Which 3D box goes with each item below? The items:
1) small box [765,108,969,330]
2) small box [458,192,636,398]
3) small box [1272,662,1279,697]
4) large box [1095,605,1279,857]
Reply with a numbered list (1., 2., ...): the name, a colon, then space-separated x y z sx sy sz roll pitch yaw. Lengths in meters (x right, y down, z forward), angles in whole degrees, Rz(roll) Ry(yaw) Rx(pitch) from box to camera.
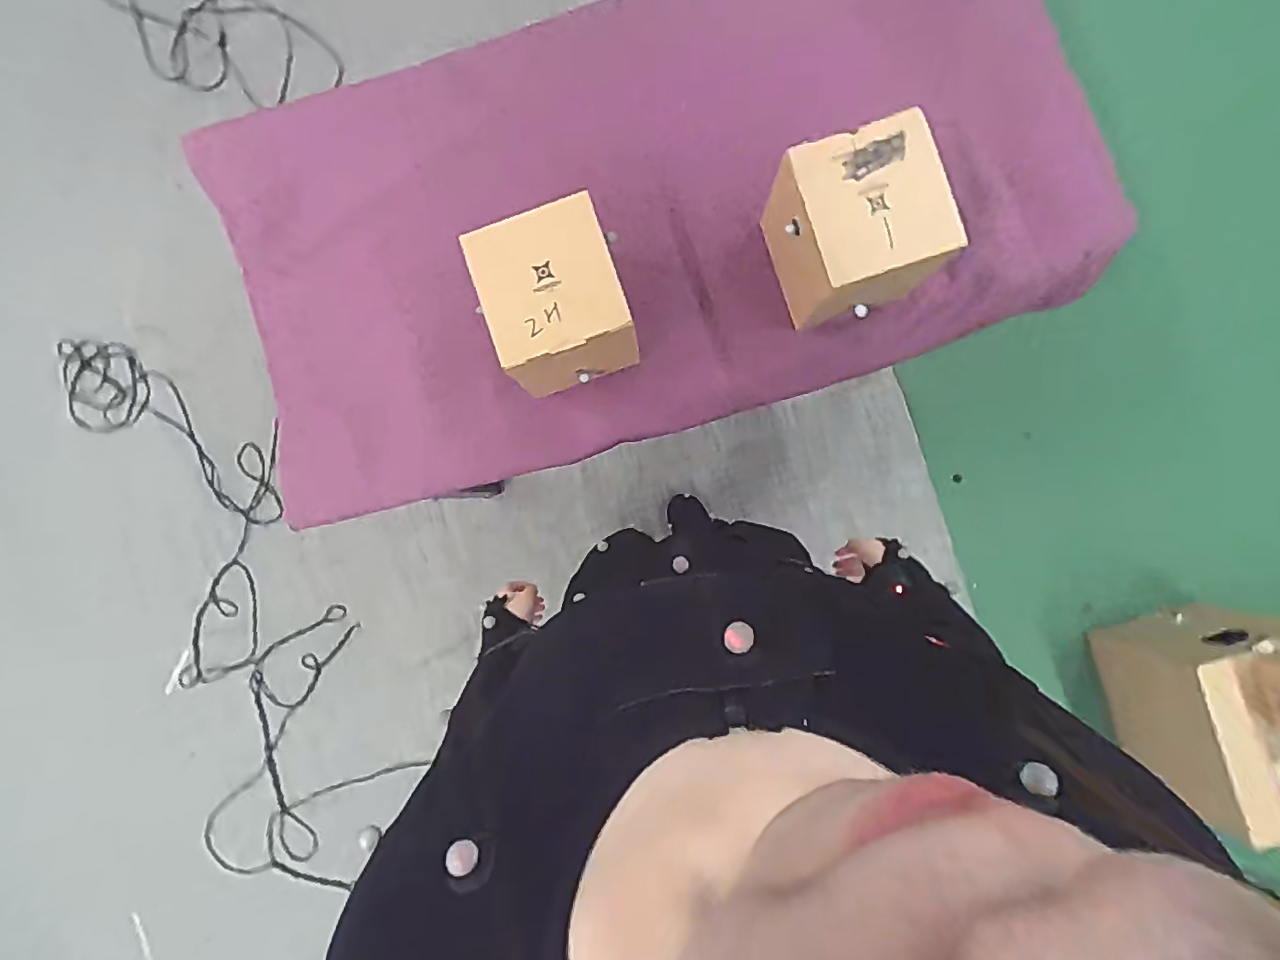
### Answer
1. small box: 0.274 -0.320 0.698 0.168 0.176 0.179 -18 87 2
2. small box: -0.110 -0.228 0.710 0.168 0.176 0.179 -19 86 2
3. small box: 1.407 0.431 1.037 0.179 0.176 0.168 -16 88 2
4. large box: 1.399 0.556 1.275 0.320 0.320 0.408 -16 88 2
